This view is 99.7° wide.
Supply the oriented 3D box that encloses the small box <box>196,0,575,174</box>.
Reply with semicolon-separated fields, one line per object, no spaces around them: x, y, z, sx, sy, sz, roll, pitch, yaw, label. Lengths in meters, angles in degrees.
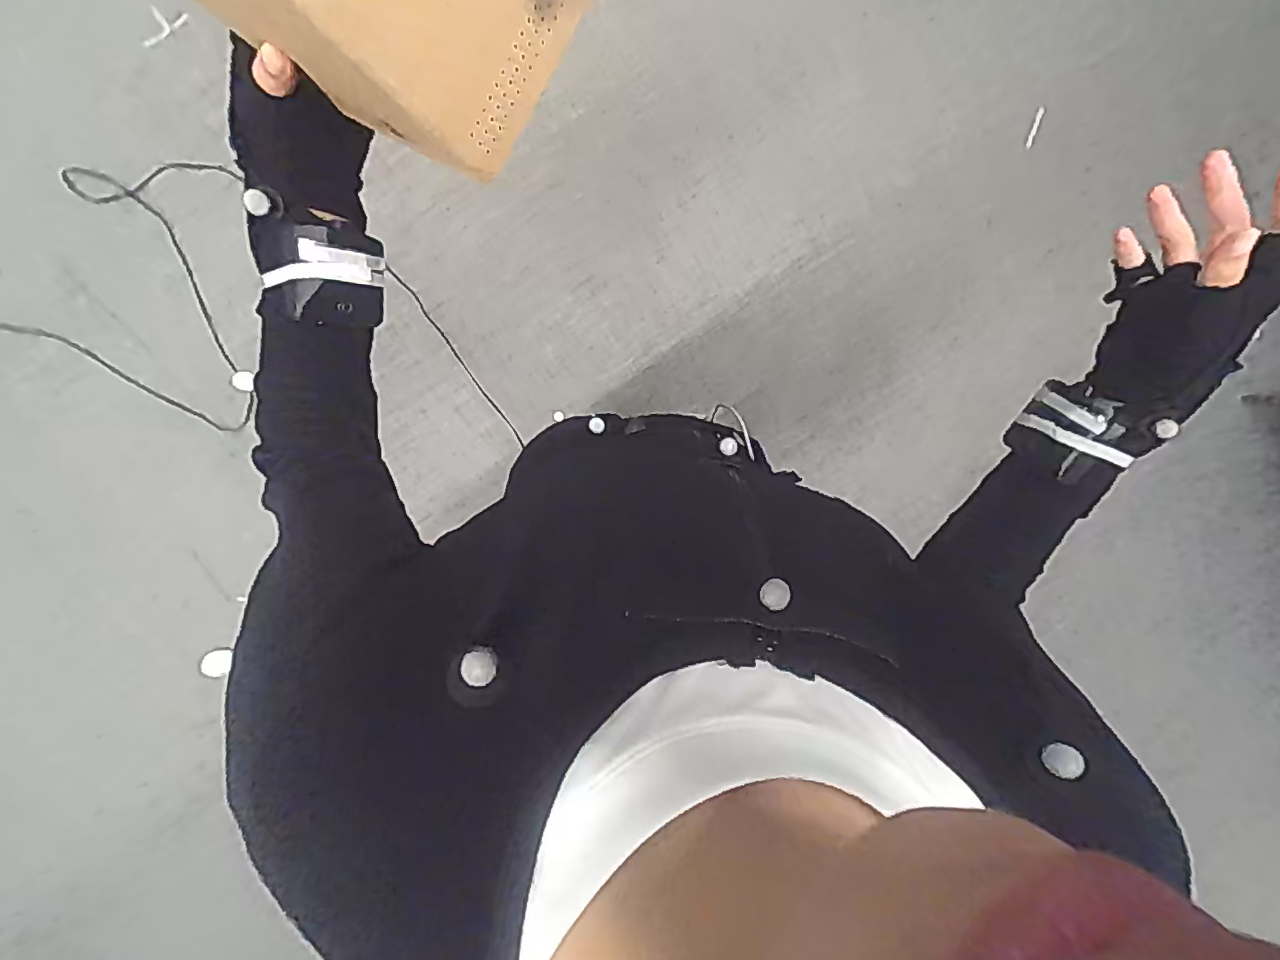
-0.126;-0.273;0.216;0.168;0.176;0.179;34;99;19;small box
